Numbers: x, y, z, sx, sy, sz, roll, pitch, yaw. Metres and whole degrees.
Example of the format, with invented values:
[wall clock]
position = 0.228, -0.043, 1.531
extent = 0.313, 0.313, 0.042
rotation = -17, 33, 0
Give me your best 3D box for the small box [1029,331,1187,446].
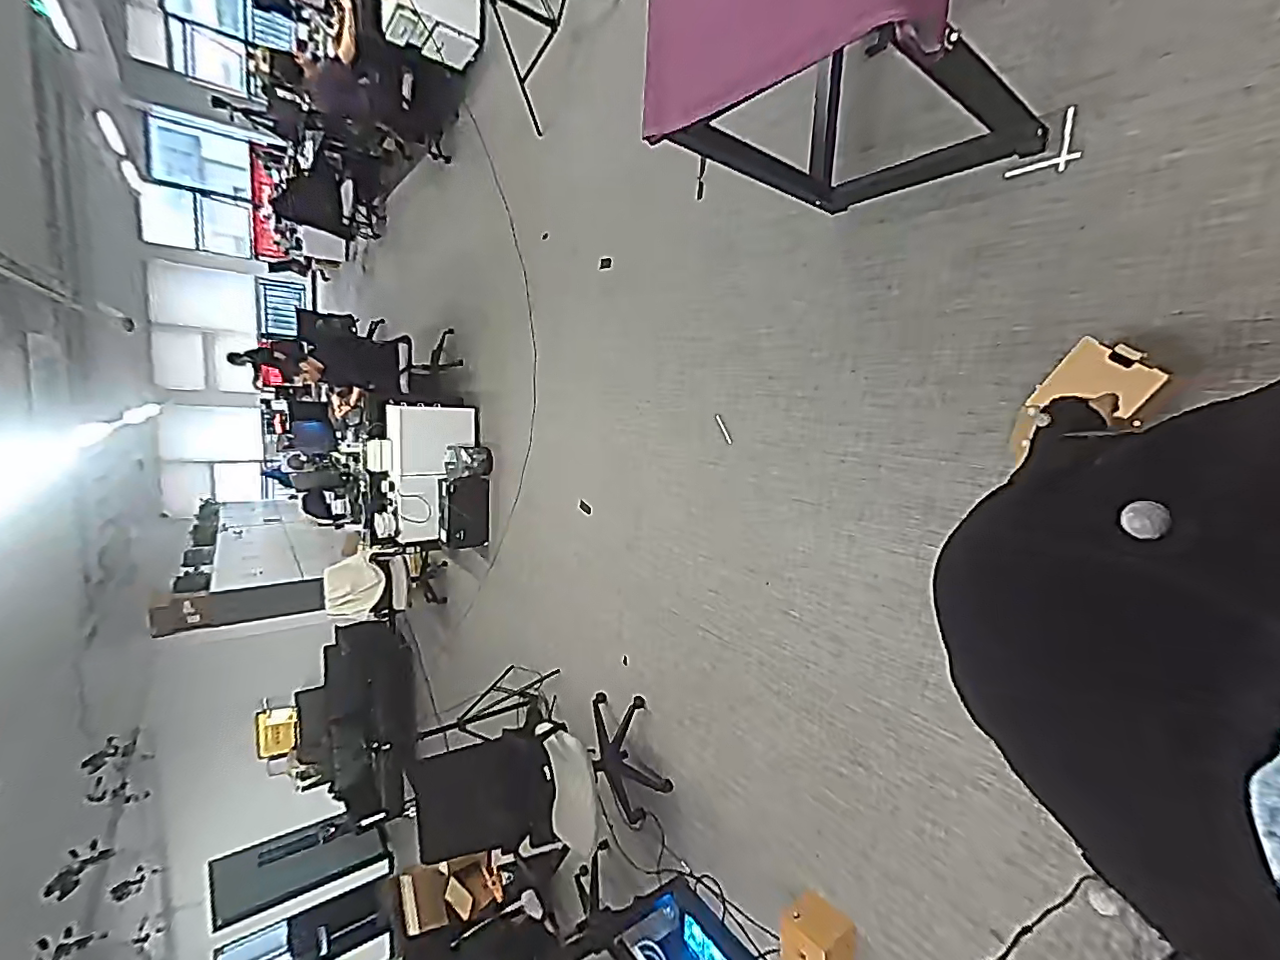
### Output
[small box]
position = 0.978, -0.185, 1.129
extent = 0.168, 0.176, 0.179
rotation = 53, 131, 37
